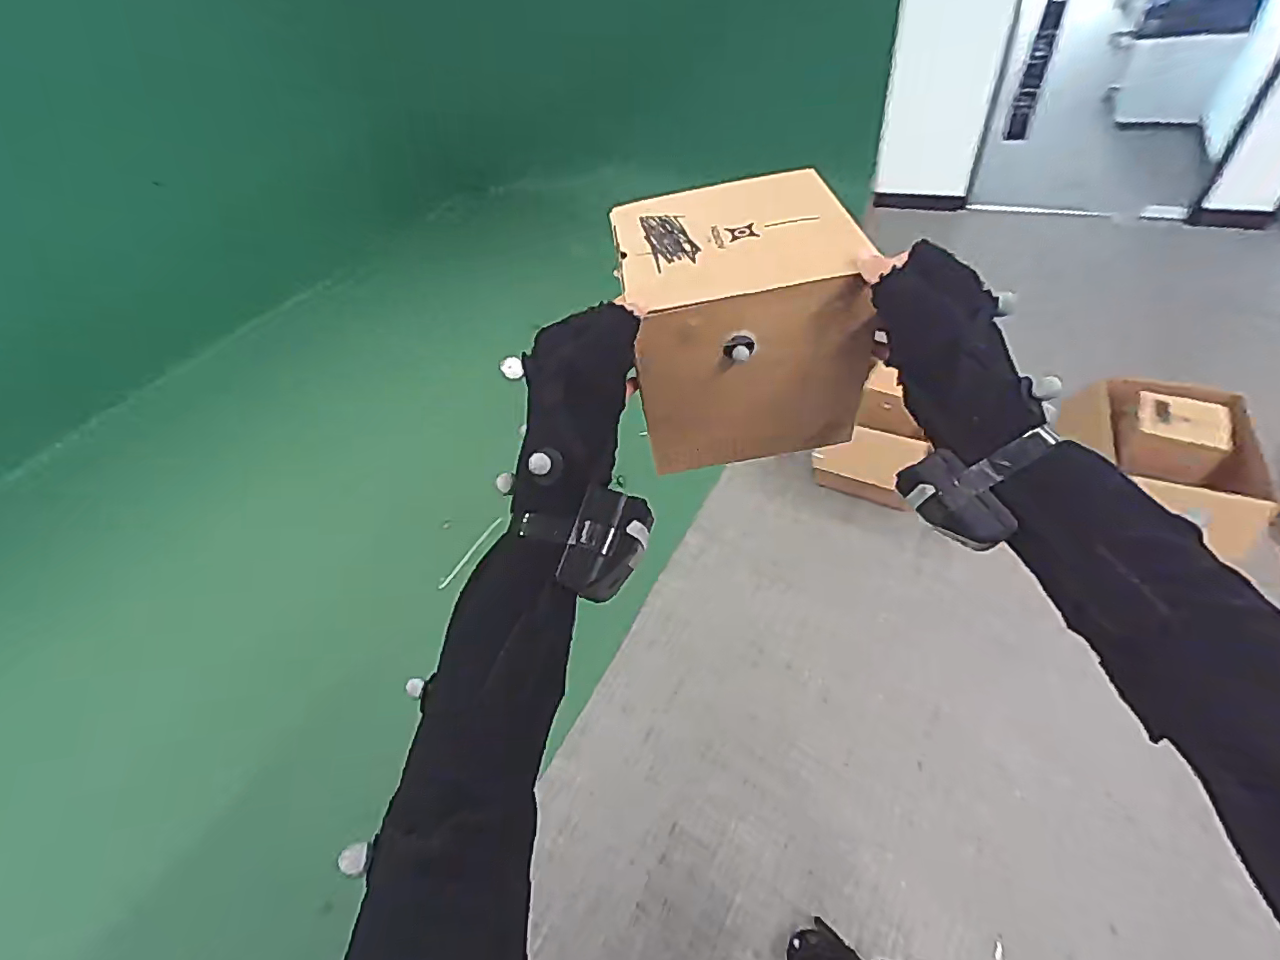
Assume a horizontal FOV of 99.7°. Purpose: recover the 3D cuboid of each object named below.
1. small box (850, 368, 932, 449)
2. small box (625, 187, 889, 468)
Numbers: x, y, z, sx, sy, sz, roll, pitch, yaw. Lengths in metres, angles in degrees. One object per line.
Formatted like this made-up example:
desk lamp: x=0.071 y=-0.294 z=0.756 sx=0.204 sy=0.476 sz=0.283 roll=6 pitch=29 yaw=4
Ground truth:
small box: x=0.791 y=-0.222 z=1.715 sx=0.179 sy=0.176 sz=0.168 roll=23 pitch=55 yaw=27
small box: x=0.090 y=-0.128 z=0.479 sx=0.179 sy=0.176 sz=0.168 roll=-9 pitch=49 yaw=2
